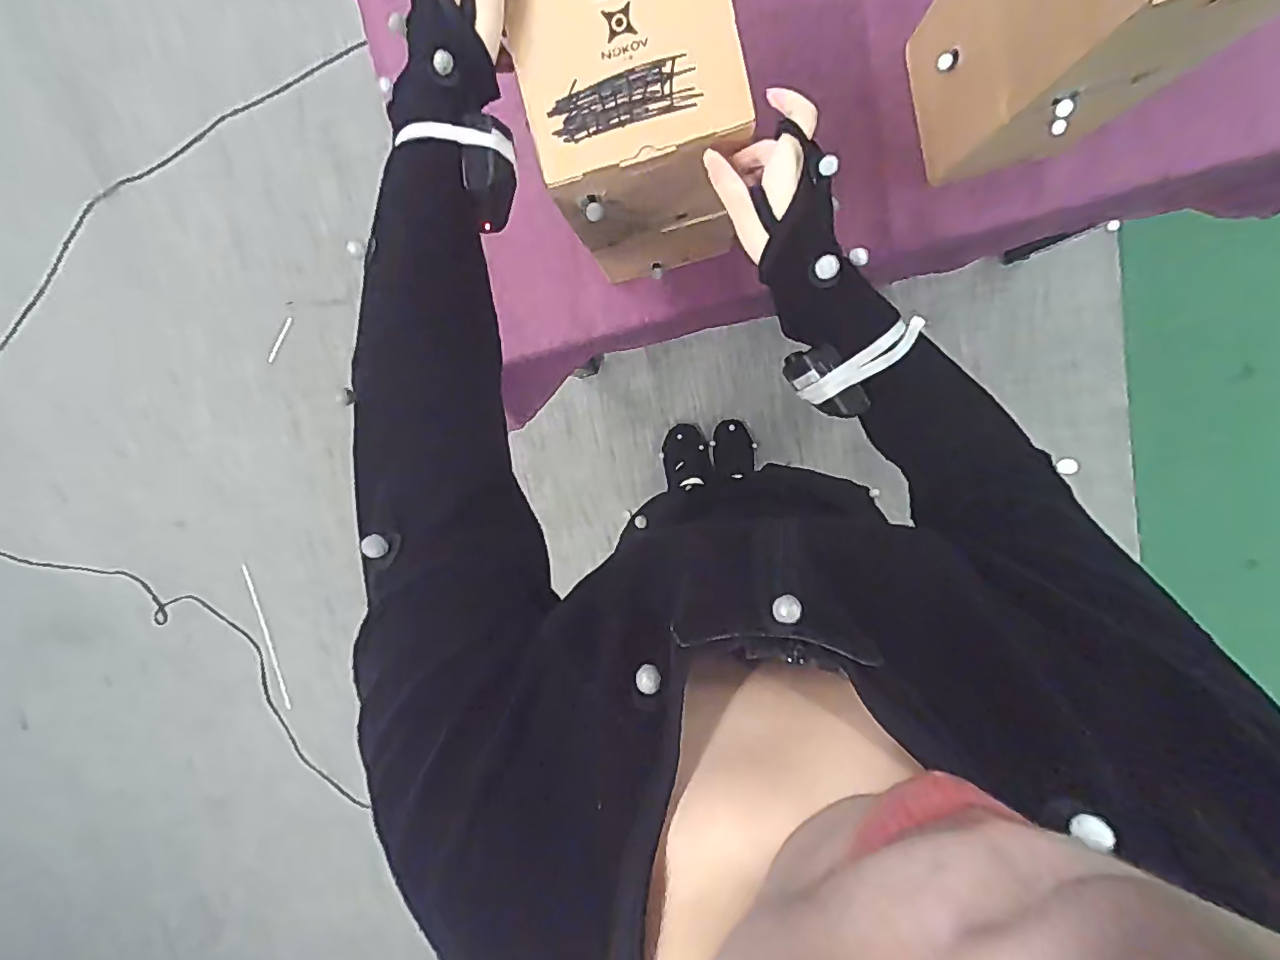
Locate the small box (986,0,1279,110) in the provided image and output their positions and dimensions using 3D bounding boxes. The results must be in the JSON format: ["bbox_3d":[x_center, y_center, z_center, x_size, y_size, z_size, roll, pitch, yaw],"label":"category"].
[{"bbox_3d":[0.404,-0.432,0.426,0.168,0.176,0.179,-14,96,7],"label":"small box"}]

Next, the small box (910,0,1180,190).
[{"bbox_3d":[0.418,-0.455,0.589,0.168,0.176,0.179,-13,96,8],"label":"small box"}]

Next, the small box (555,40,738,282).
[{"bbox_3d":[0.013,-0.357,0.642,0.168,0.176,0.179,-12,98,7],"label":"small box"}]
